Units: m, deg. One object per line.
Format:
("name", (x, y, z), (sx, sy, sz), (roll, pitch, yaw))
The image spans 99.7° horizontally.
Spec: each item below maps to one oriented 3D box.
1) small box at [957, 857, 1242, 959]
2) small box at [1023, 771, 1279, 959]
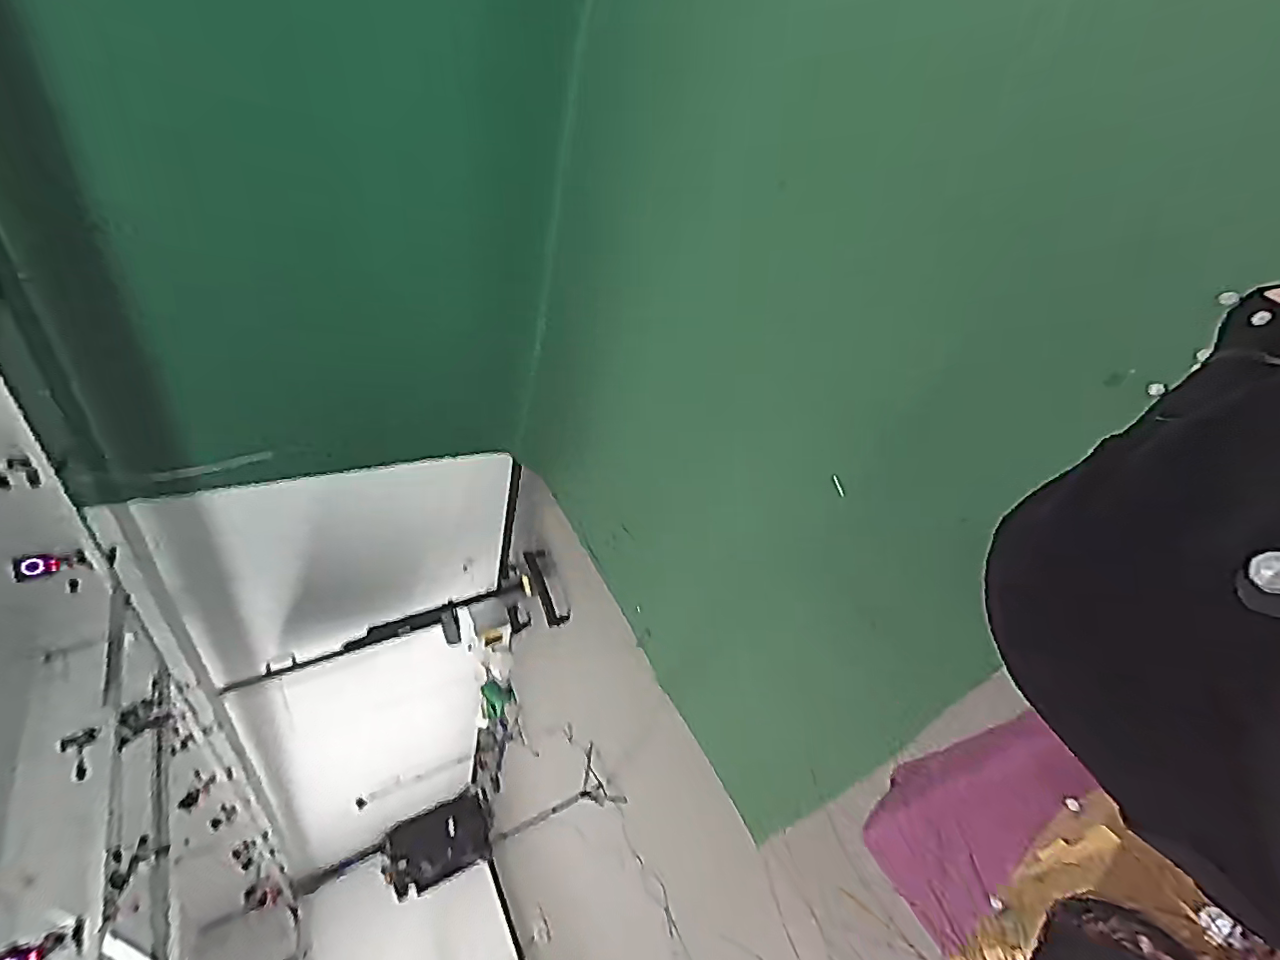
("small box", (0.469, 0.506, 0.527), (0.179, 0.176, 0.168), (54, 141, 32))
("small box", (0.602, 0.465, 0.614), (0.179, 0.176, 0.168), (50, 139, 38))
